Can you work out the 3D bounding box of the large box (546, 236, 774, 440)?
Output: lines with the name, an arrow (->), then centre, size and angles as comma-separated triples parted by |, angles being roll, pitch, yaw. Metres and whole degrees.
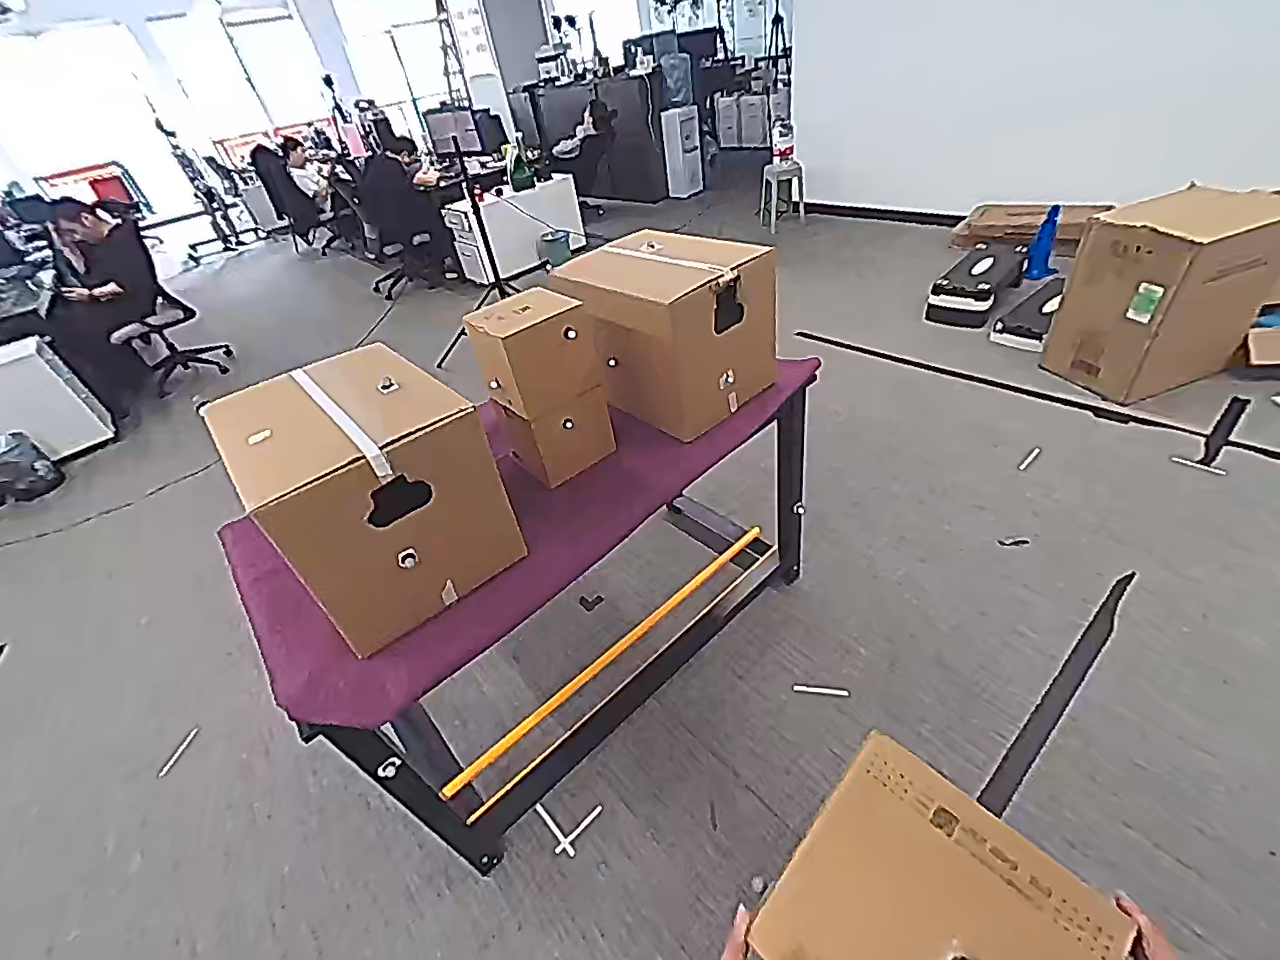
large box -> 0.055, -0.342, 1.246 | 0.320, 0.320, 0.408 | -35, 43, -27
